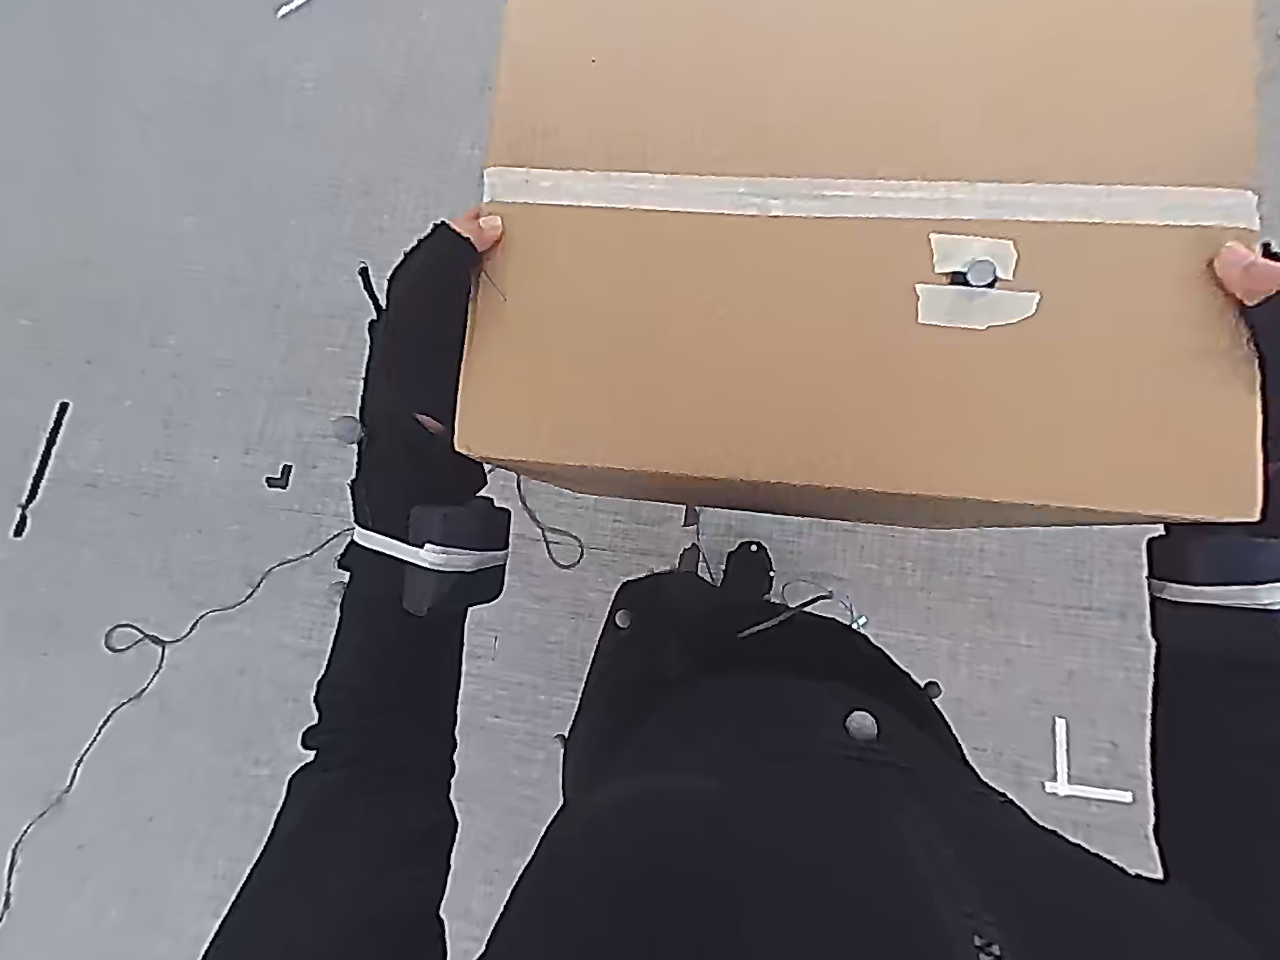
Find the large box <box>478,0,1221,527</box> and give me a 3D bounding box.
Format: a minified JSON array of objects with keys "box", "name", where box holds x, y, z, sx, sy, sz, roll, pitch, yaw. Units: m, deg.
[{"box":[0.123,-0.129,0.457,0.408,0.320,0.320,5,86,5],"name":"large box"}]
